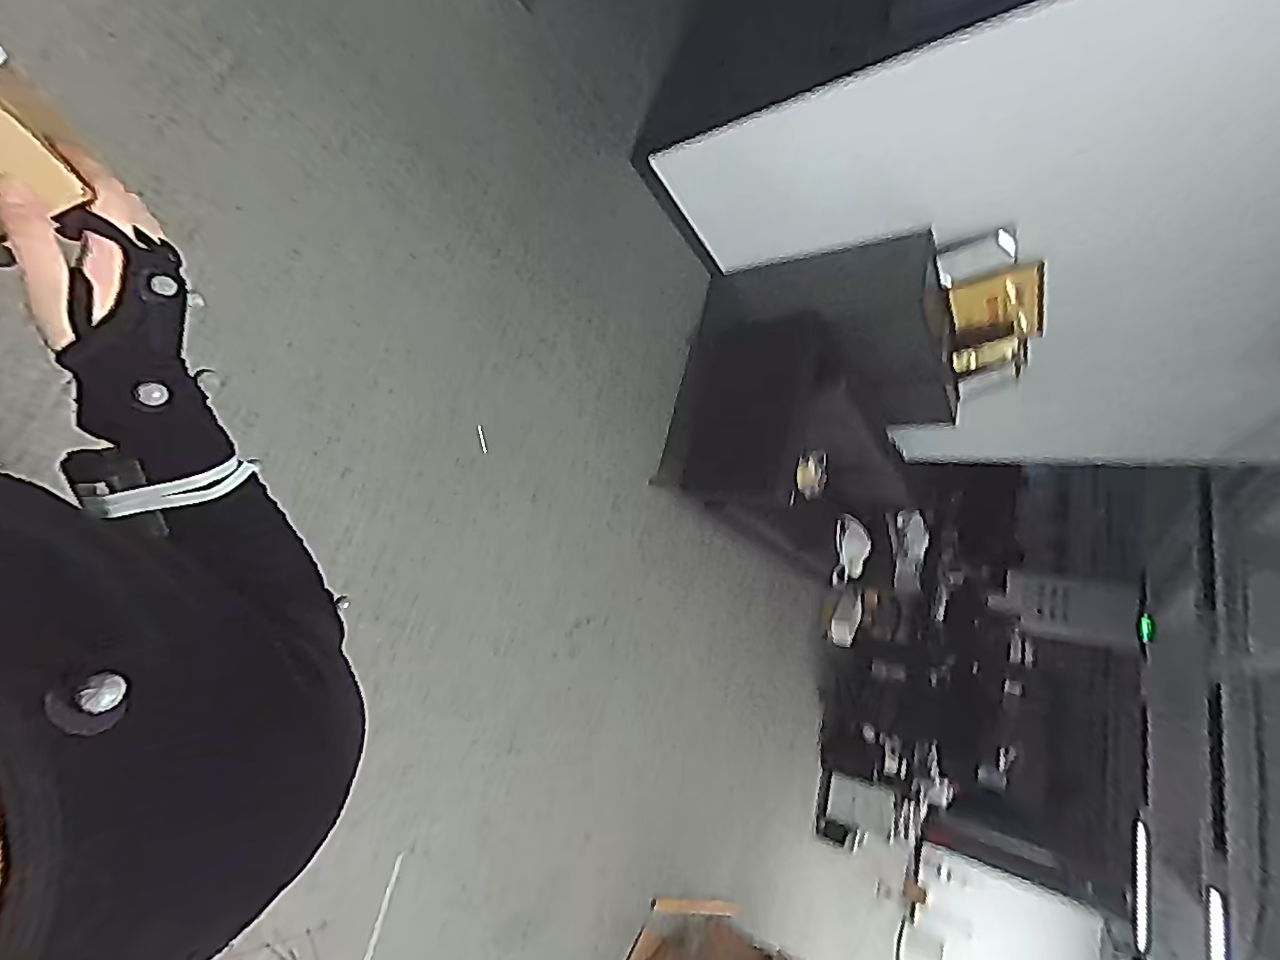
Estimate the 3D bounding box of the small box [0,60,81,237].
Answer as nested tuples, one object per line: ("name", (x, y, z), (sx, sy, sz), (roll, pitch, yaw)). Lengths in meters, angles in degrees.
("small box", (-0.457, -0.209, 0.283), (0.168, 0.176, 0.179), (-40, 139, -11))
